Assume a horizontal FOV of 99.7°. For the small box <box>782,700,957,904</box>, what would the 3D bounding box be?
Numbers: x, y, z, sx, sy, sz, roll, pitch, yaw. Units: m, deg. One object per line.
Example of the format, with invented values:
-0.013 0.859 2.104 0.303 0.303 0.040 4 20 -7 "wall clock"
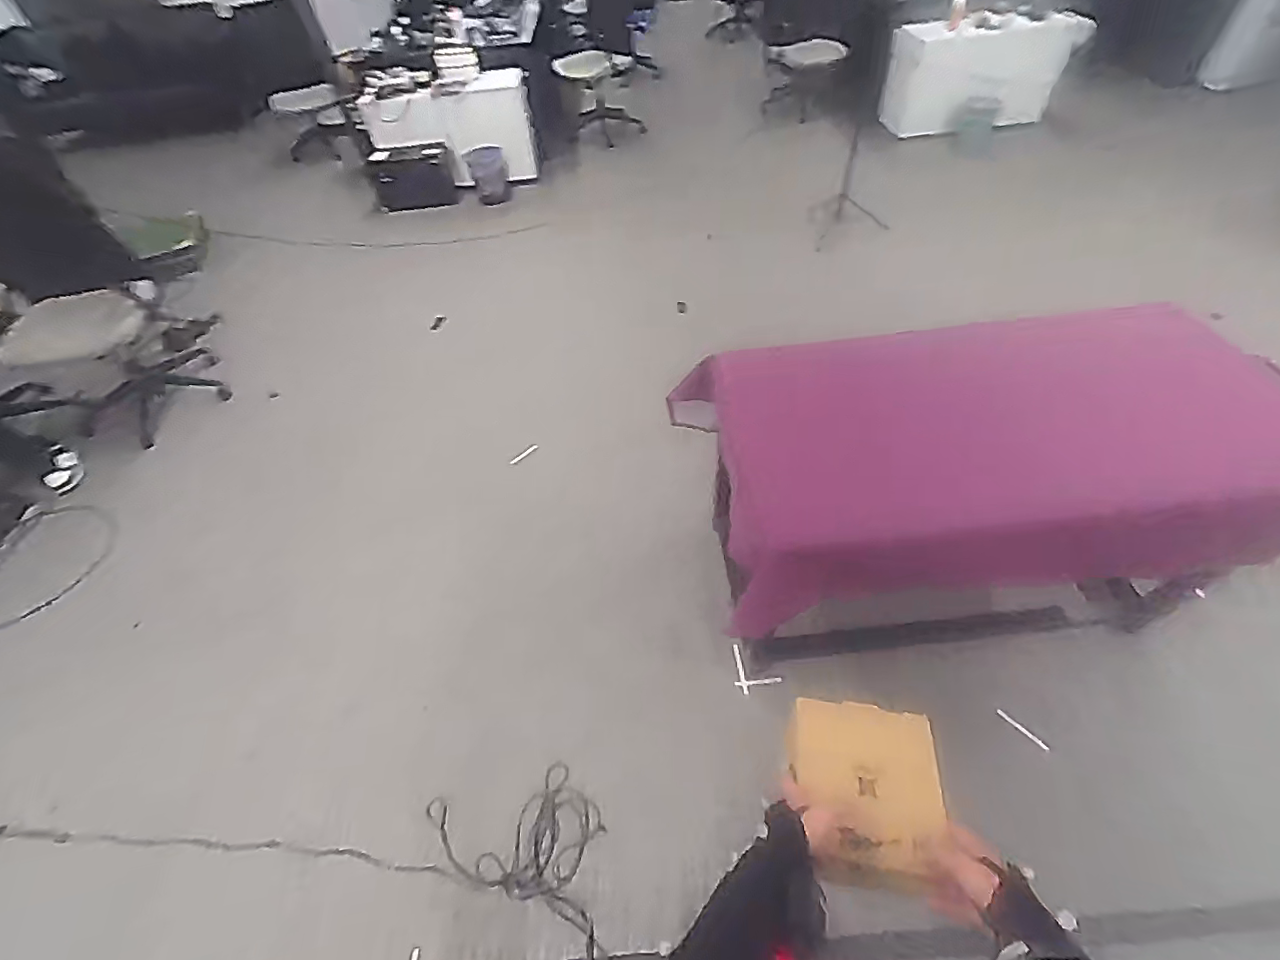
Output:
0.275 0.411 0.692 0.168 0.176 0.179 5 49 11 "small box"
